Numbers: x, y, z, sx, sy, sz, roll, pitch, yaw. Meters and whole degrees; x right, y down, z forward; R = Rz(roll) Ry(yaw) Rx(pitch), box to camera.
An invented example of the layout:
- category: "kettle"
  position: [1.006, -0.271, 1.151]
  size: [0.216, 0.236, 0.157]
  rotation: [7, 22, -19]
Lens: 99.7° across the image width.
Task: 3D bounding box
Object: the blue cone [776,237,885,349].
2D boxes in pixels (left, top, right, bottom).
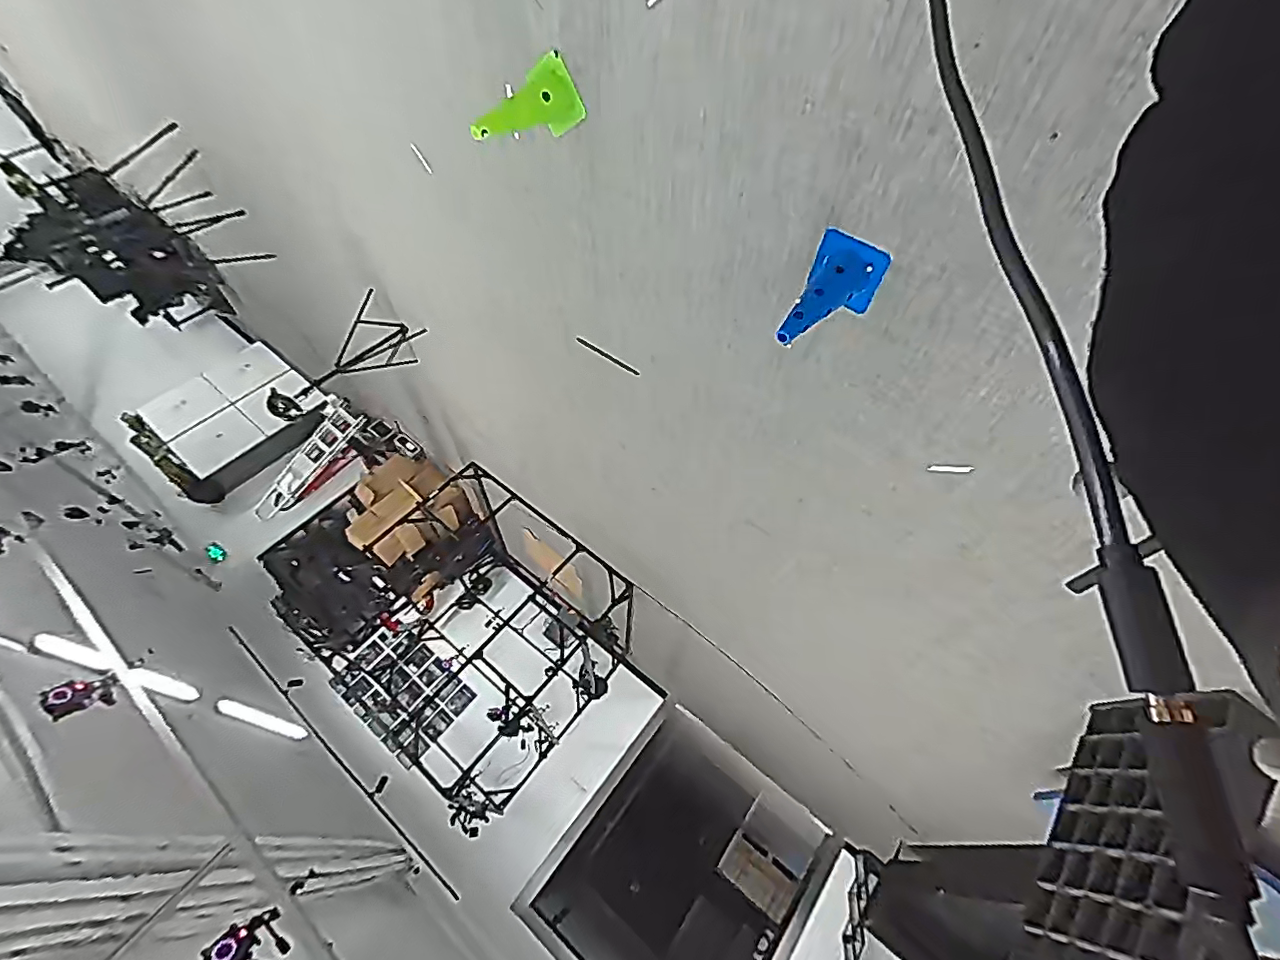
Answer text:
- category: "blue cone"
  position: [0.489, -0.484, 1.482]
  size: [0.193, 0.380, 0.192]
  rotation: [36, 154, 16]

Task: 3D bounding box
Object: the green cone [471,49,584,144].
- category: "green cone"
  position: [-0.391, -1.159, 1.710]
  size: [0.200, 0.368, 0.202]
  rotation: [9, 138, 50]
